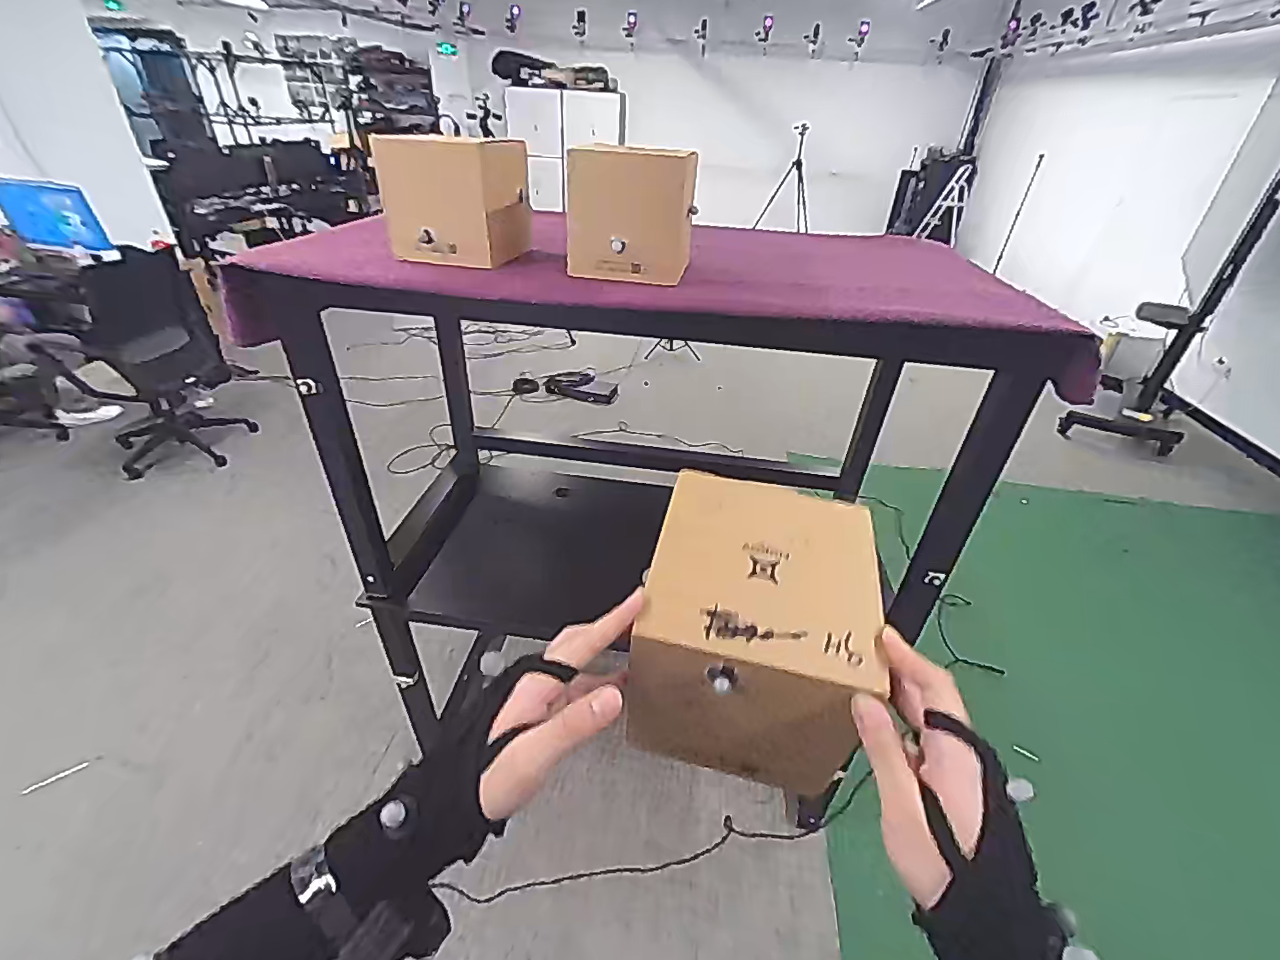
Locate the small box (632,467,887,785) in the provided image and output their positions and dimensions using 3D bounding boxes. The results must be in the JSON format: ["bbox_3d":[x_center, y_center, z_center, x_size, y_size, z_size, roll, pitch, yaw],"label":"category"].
[{"bbox_3d":[0.090,0.118,0.458,0.168,0.176,0.179,11,41,10],"label":"small box"}]

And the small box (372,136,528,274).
[{"bbox_3d":[-0.283,-0.436,0.853,0.168,0.176,0.179,8,34,8],"label":"small box"}]

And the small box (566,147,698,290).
[{"bbox_3d":[-0.010,-0.401,0.823,0.168,0.176,0.179,8,34,7],"label":"small box"}]
